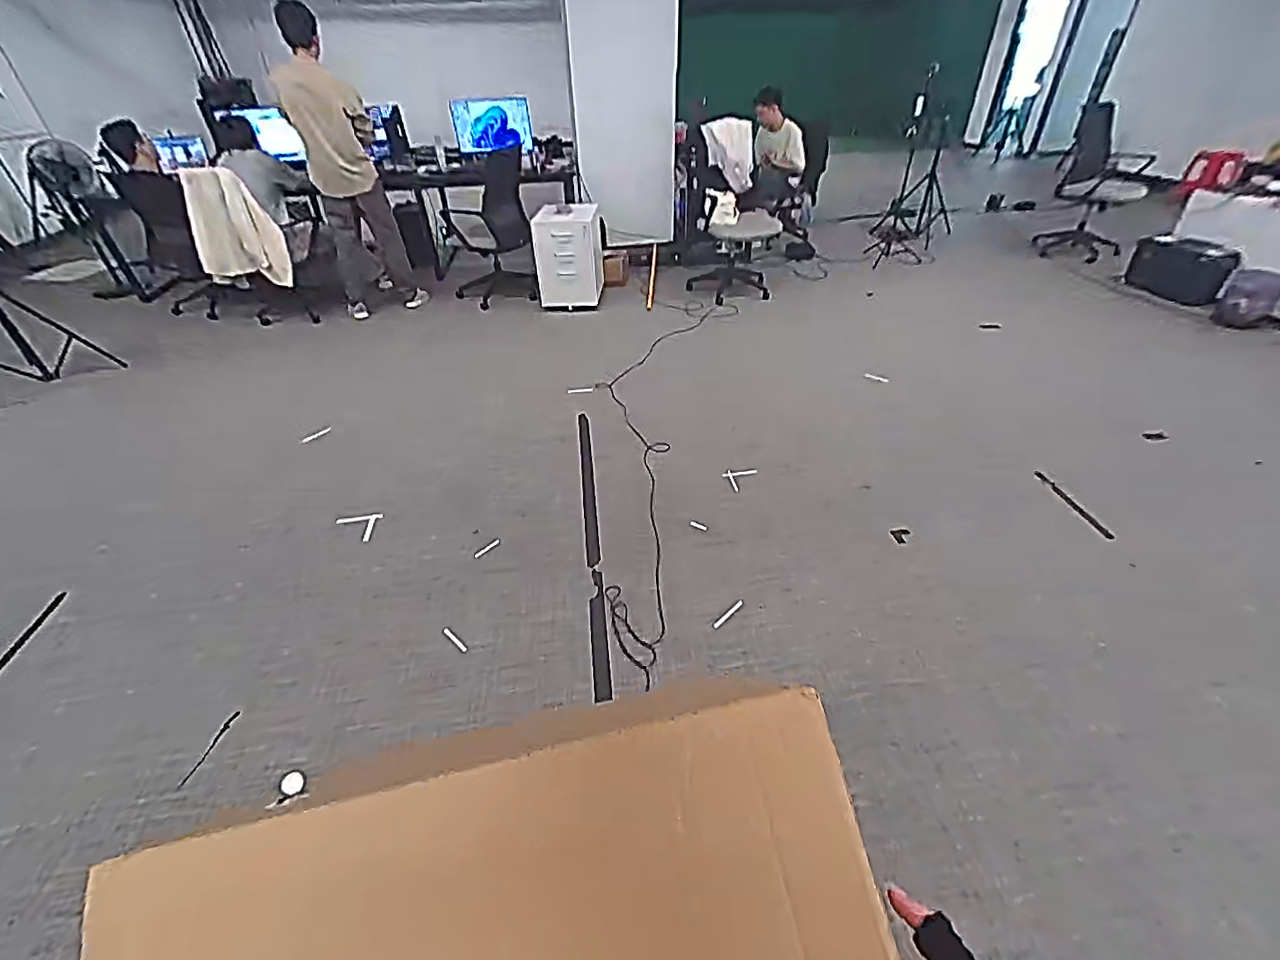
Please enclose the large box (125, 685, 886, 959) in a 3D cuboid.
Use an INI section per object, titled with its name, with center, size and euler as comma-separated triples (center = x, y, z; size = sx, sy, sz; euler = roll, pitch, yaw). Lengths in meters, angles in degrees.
[large box]
center = -0.059, 0.364, 0.410
size = 0.408, 0.320, 0.320
euler = -12, 73, -5
